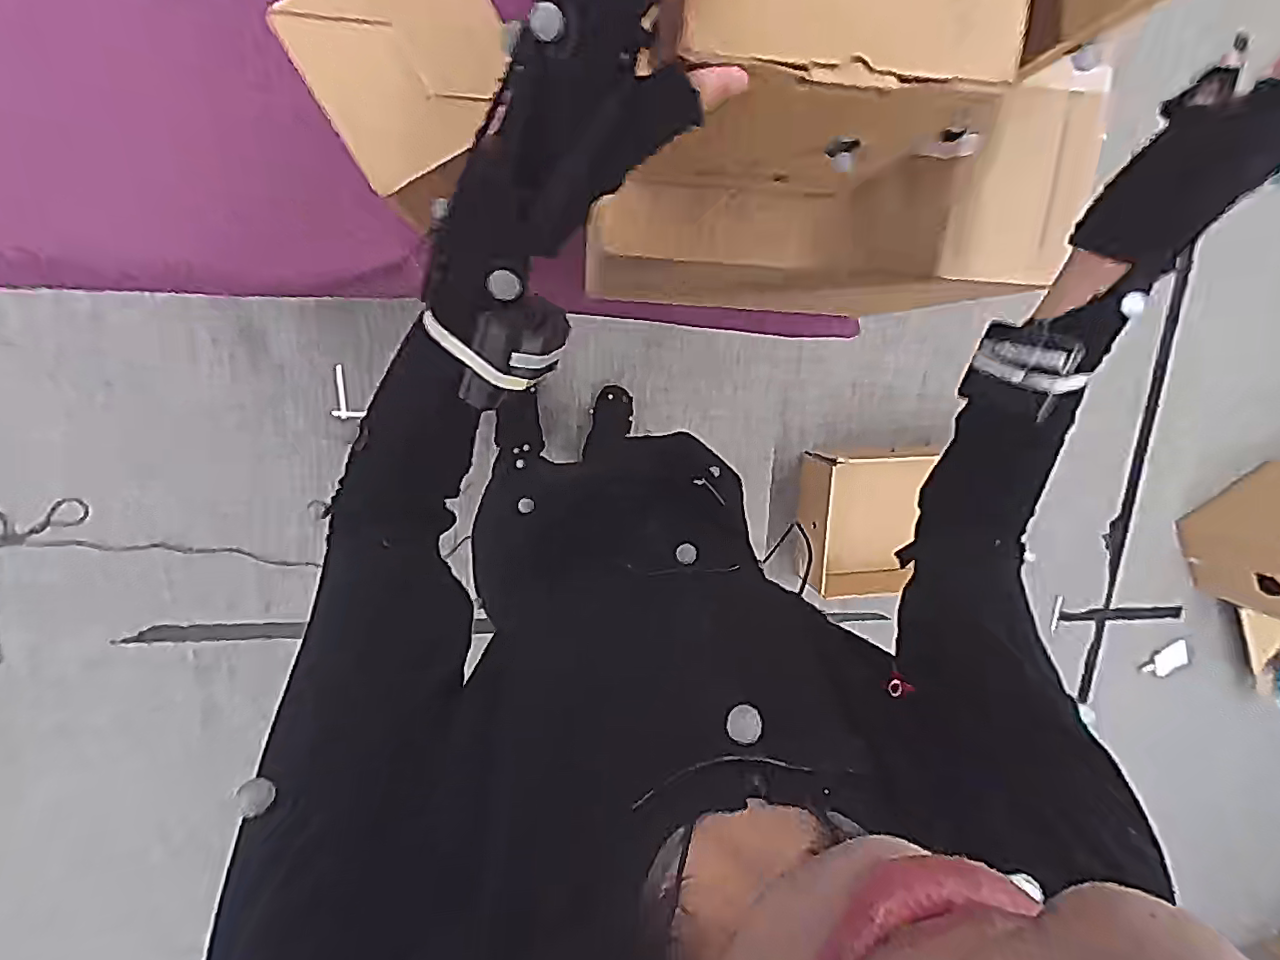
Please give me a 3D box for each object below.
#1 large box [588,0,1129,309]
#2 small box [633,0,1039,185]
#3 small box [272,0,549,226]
[{"bbox_3d":[0.155,-0.354,0.545,0.408,0.320,0.320,1,102,-8],"label":"large box"},{"bbox_3d":[0.090,-0.286,0.301,0.168,0.176,0.179,-1,101,-9],"label":"small box"},{"bbox_3d":[-0.210,-0.392,0.547,0.179,0.176,0.168,-29,104,0],"label":"small box"}]
